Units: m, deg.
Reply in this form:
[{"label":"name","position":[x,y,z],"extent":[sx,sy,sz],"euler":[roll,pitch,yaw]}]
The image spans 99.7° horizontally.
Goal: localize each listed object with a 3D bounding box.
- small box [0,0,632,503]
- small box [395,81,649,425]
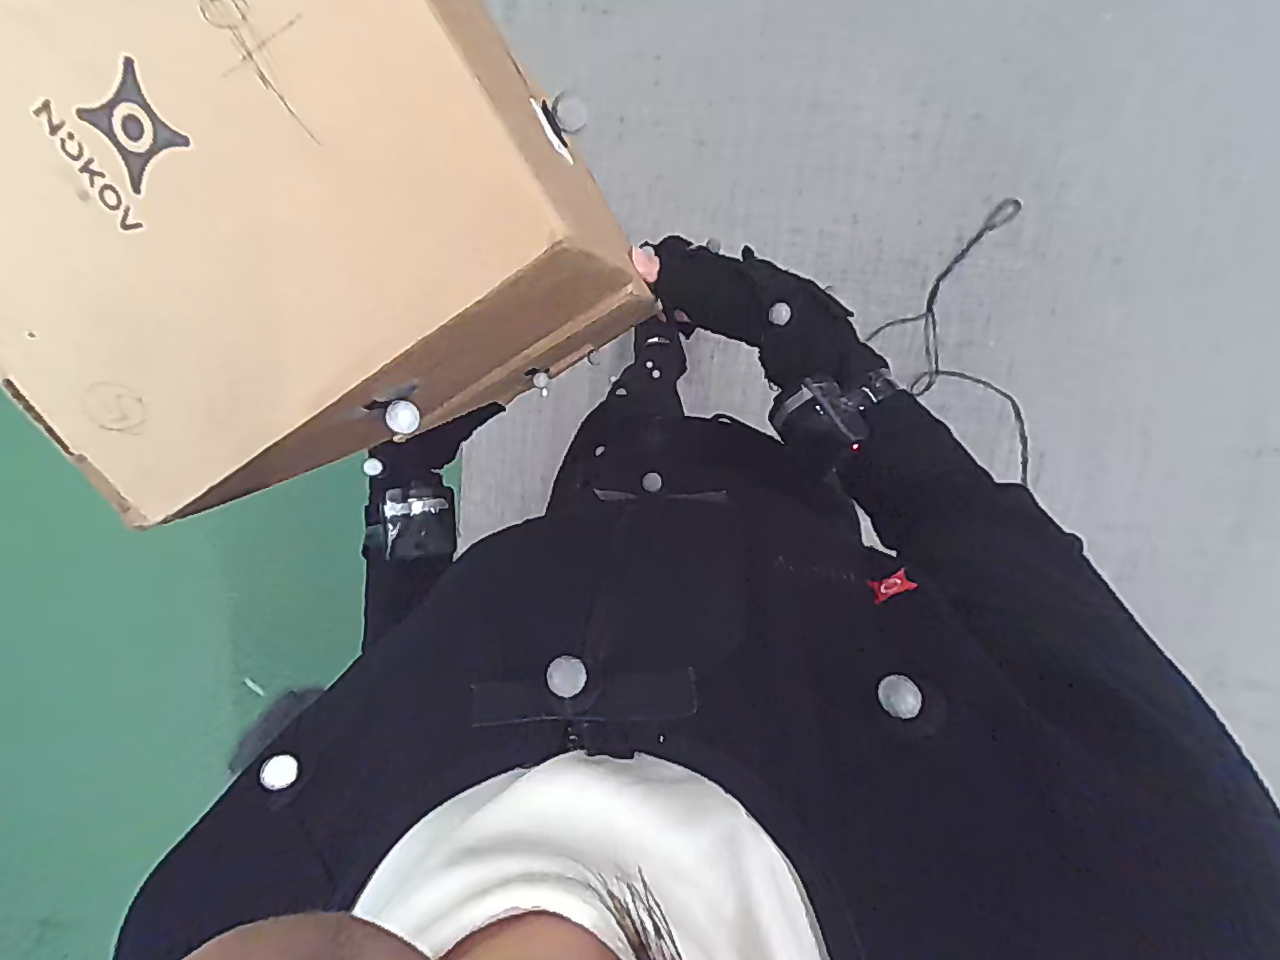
[{"label":"small box","position":[-0.120,-0.120,0.221],"extent":[0.179,0.176,0.168],"euler":[-28,104,14]},{"label":"small box","position":[-0.104,-0.163,0.376],"extent":[0.179,0.176,0.168],"euler":[-26,103,15]}]
